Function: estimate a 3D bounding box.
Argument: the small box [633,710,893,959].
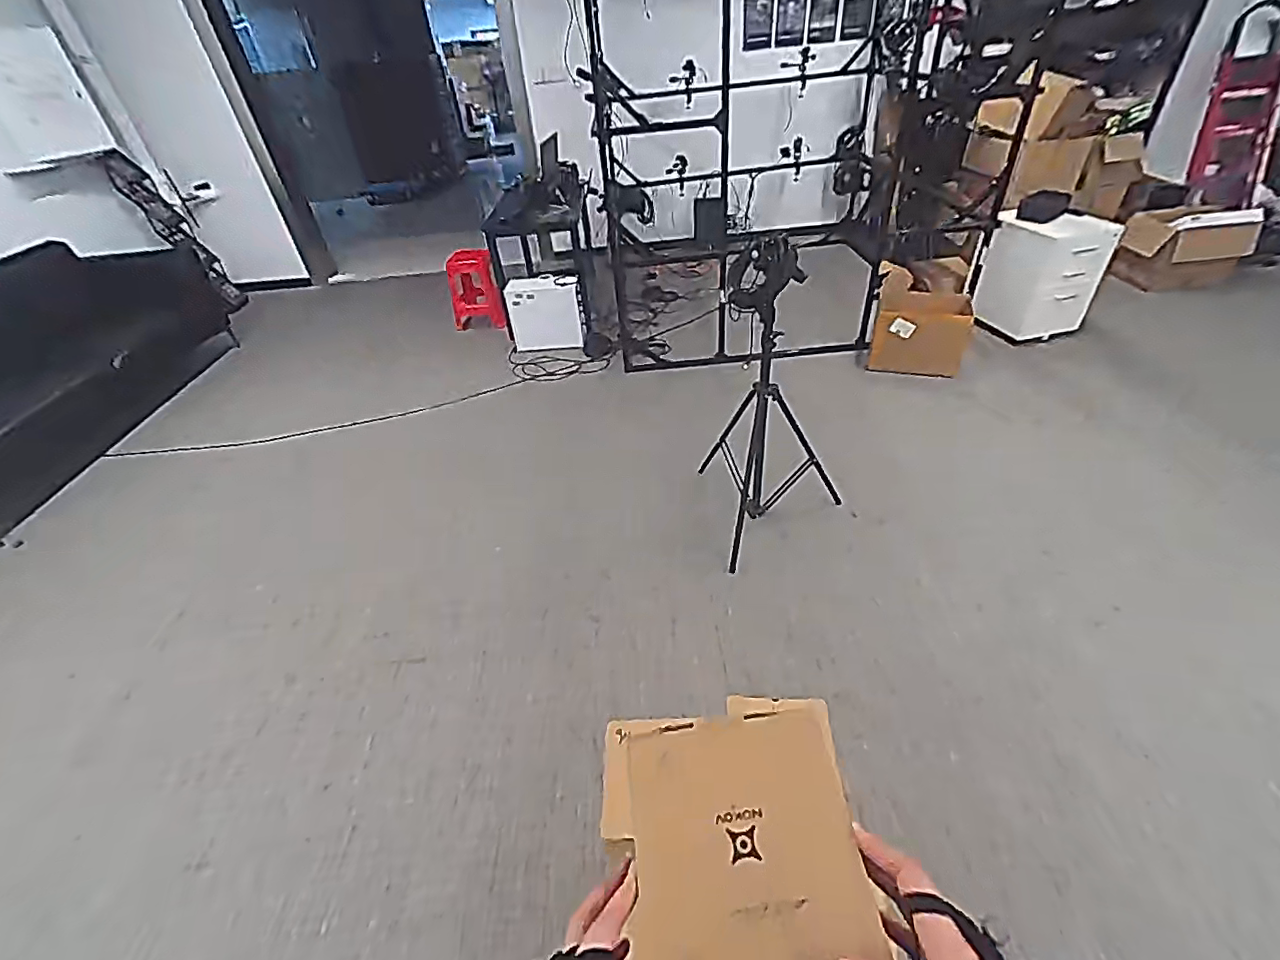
[{"bbox_3d":[0.088,0.321,0.460,0.168,0.176,0.179,-8,47,3],"label":"small box"}]
